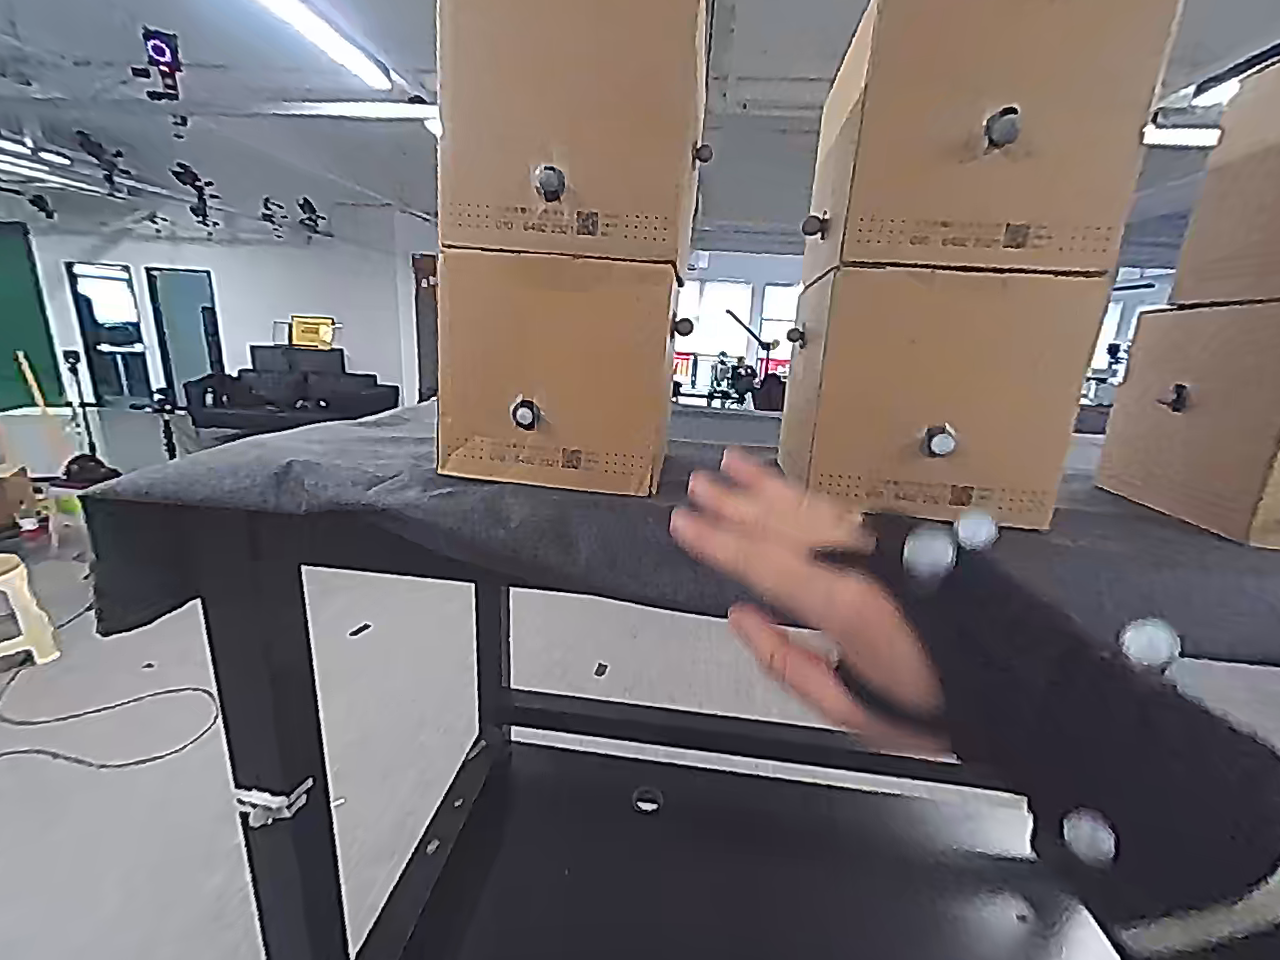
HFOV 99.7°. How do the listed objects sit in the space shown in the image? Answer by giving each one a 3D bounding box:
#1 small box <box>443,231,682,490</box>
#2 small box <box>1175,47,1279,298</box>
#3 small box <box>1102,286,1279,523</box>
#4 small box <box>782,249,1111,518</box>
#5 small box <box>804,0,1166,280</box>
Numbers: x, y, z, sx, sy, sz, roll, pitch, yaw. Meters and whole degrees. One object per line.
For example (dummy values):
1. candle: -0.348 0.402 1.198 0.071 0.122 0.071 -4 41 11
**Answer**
1. small box: -0.056 -0.099 0.462 0.168 0.176 0.179 6 14 4
2. small box: 0.517 -0.202 0.344 0.168 0.176 0.179 5 14 3
3. small box: 0.512 -0.053 0.415 0.168 0.176 0.179 6 14 9
4. small box: 0.215 -0.078 0.438 0.168 0.176 0.179 5 13 7
5. small box: 0.227 -0.238 0.402 0.168 0.176 0.179 6 14 6
